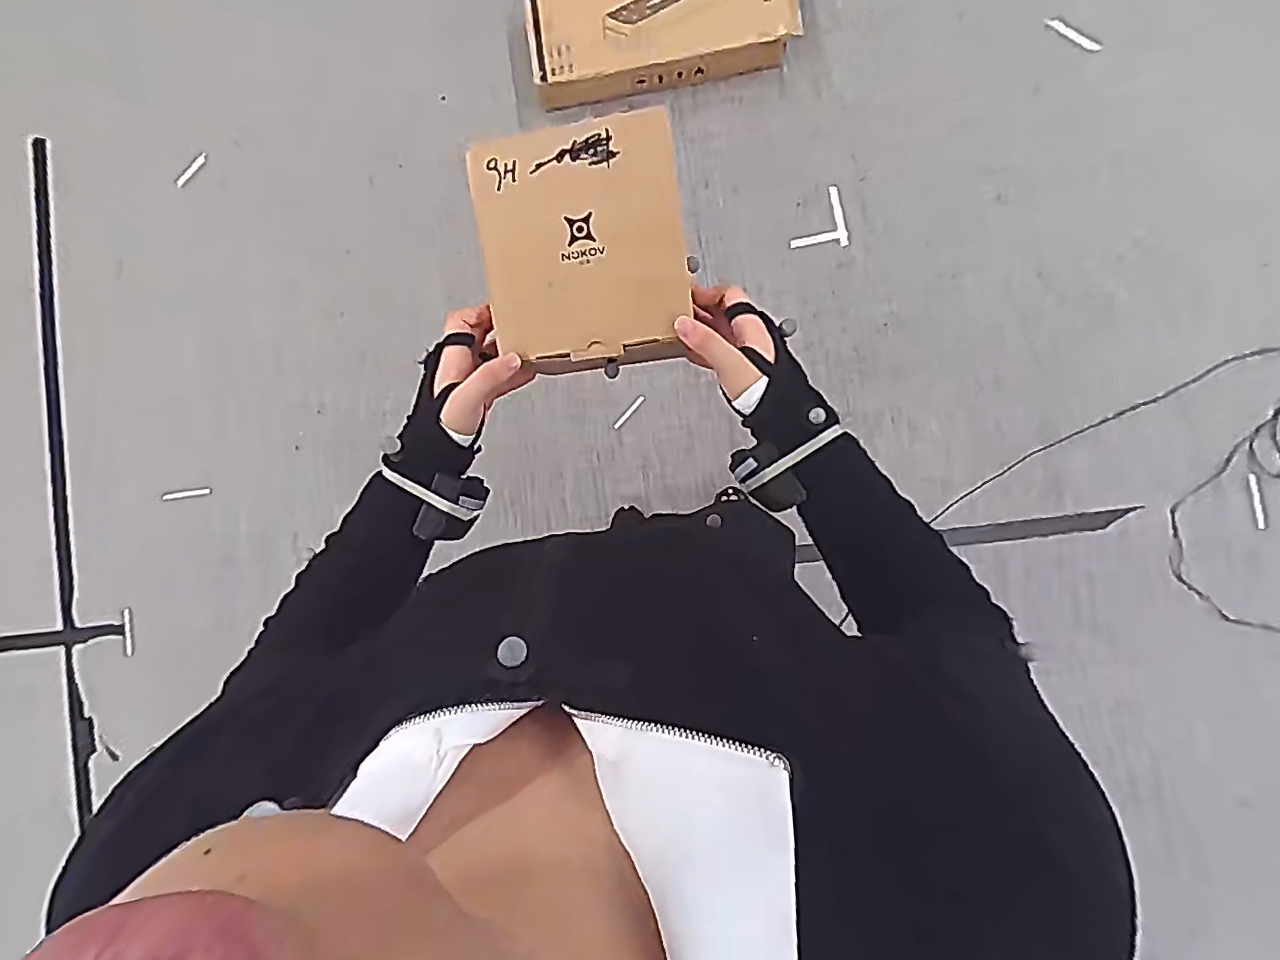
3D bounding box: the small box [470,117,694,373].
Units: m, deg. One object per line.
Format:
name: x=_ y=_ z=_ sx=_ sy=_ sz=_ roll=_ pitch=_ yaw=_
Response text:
small box: x=-0.038 y=-0.199 z=0.513 sx=0.168 sy=0.176 sz=0.179 roll=-7 pitch=98 yaw=5
